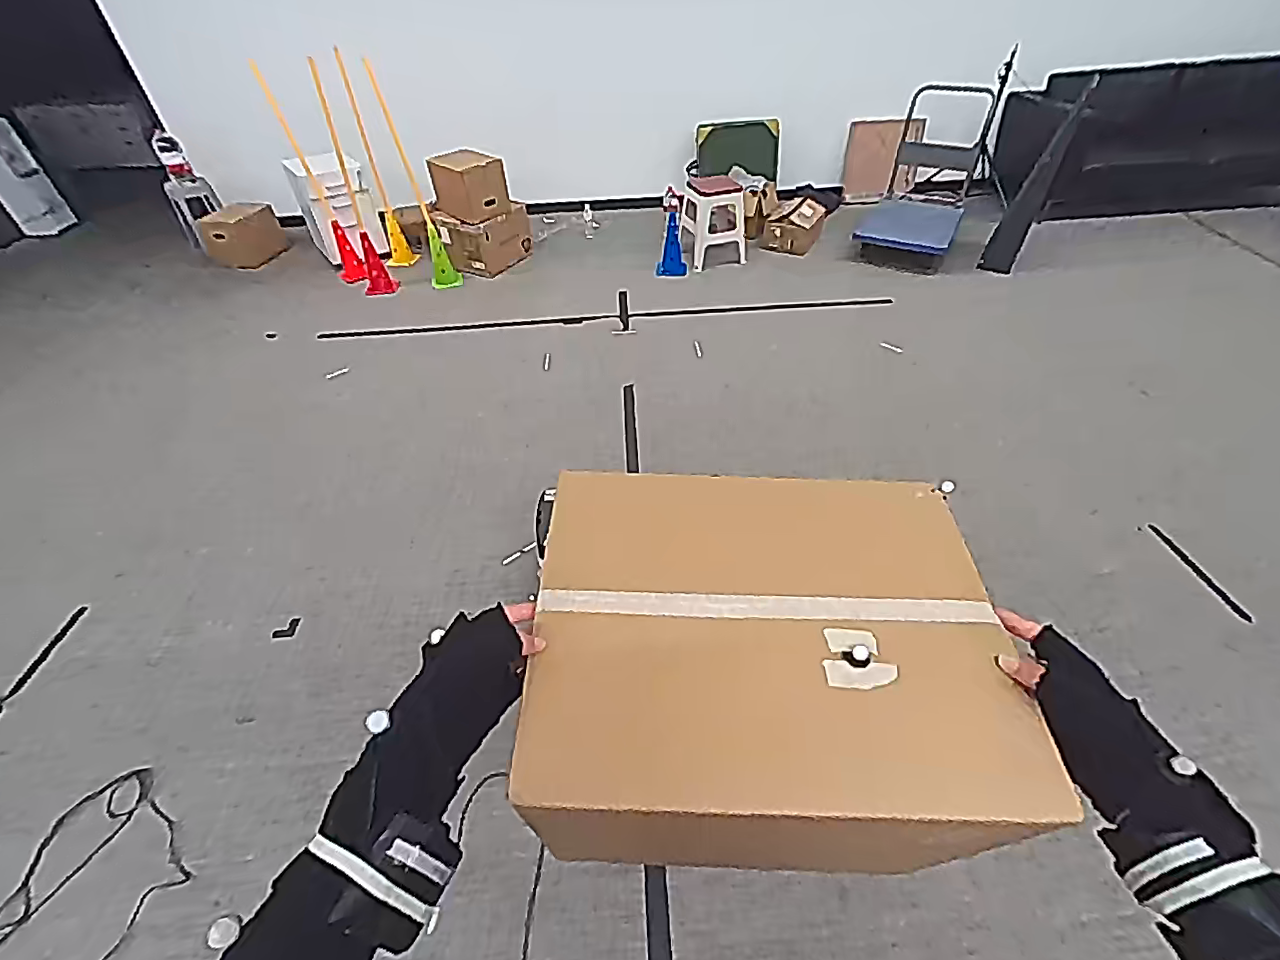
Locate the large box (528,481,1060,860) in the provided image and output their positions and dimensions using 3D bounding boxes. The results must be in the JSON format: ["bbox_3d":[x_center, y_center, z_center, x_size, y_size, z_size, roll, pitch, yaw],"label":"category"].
[{"bbox_3d":[0.110,0.217,0.604,0.408,0.320,0.320,2,49,0],"label":"large box"}]

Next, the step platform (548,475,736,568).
[{"bbox_3d":[0.028,0.163,1.868,0.684,0.204,0.286,-5,44,-4],"label":"step platform"}]
